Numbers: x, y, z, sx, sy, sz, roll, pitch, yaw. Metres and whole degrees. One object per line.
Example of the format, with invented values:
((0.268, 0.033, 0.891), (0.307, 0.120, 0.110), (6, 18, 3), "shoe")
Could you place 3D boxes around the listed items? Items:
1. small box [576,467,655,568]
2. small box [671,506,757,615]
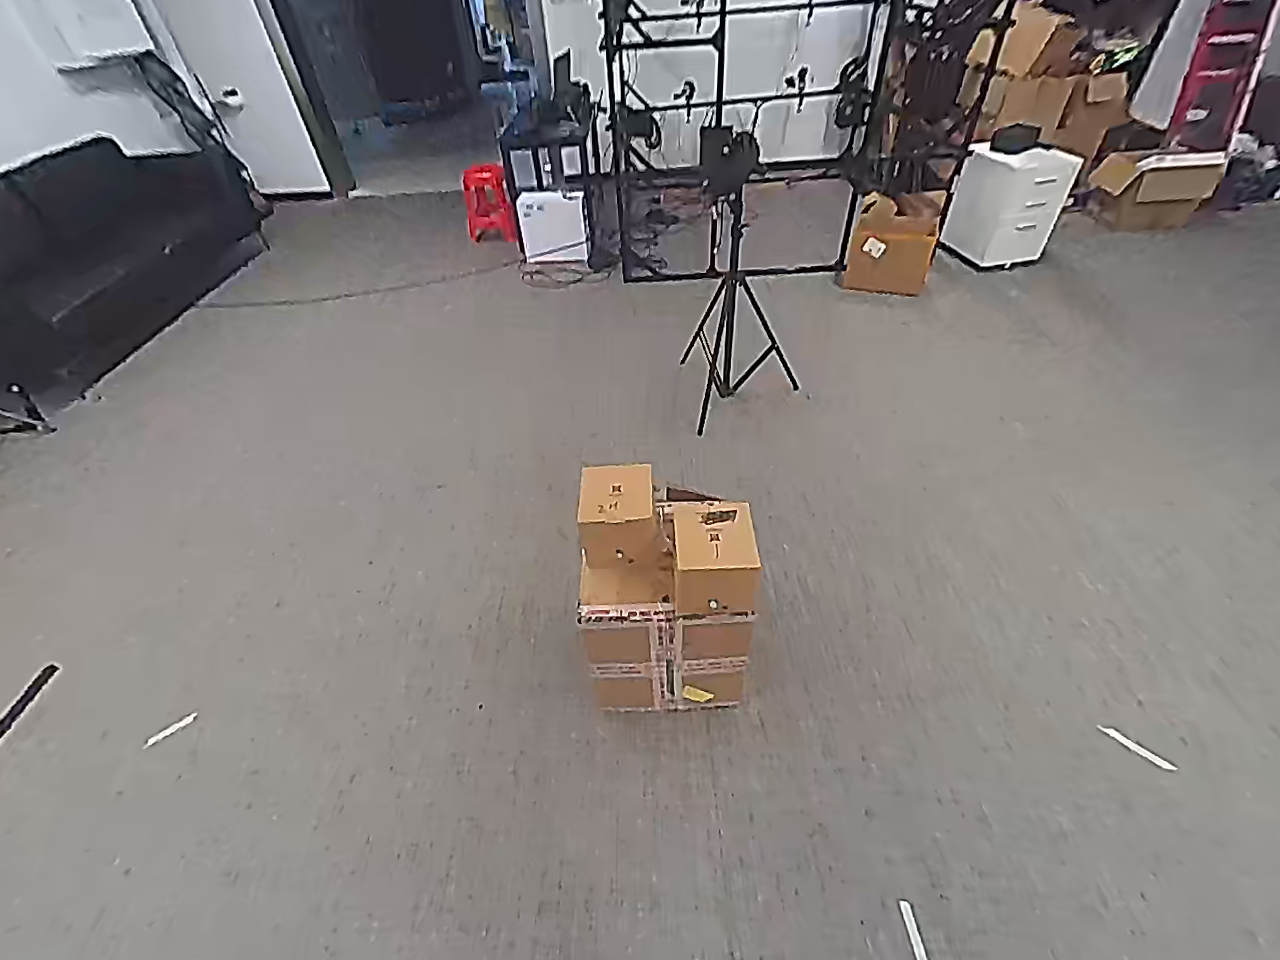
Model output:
((-0.052, 0.089, 1.281), (0.168, 0.176, 0.179), (-3, 45, 3), "small box")
((0.153, 0.175, 1.182), (0.168, 0.176, 0.179), (-2, 46, 1), "small box")
